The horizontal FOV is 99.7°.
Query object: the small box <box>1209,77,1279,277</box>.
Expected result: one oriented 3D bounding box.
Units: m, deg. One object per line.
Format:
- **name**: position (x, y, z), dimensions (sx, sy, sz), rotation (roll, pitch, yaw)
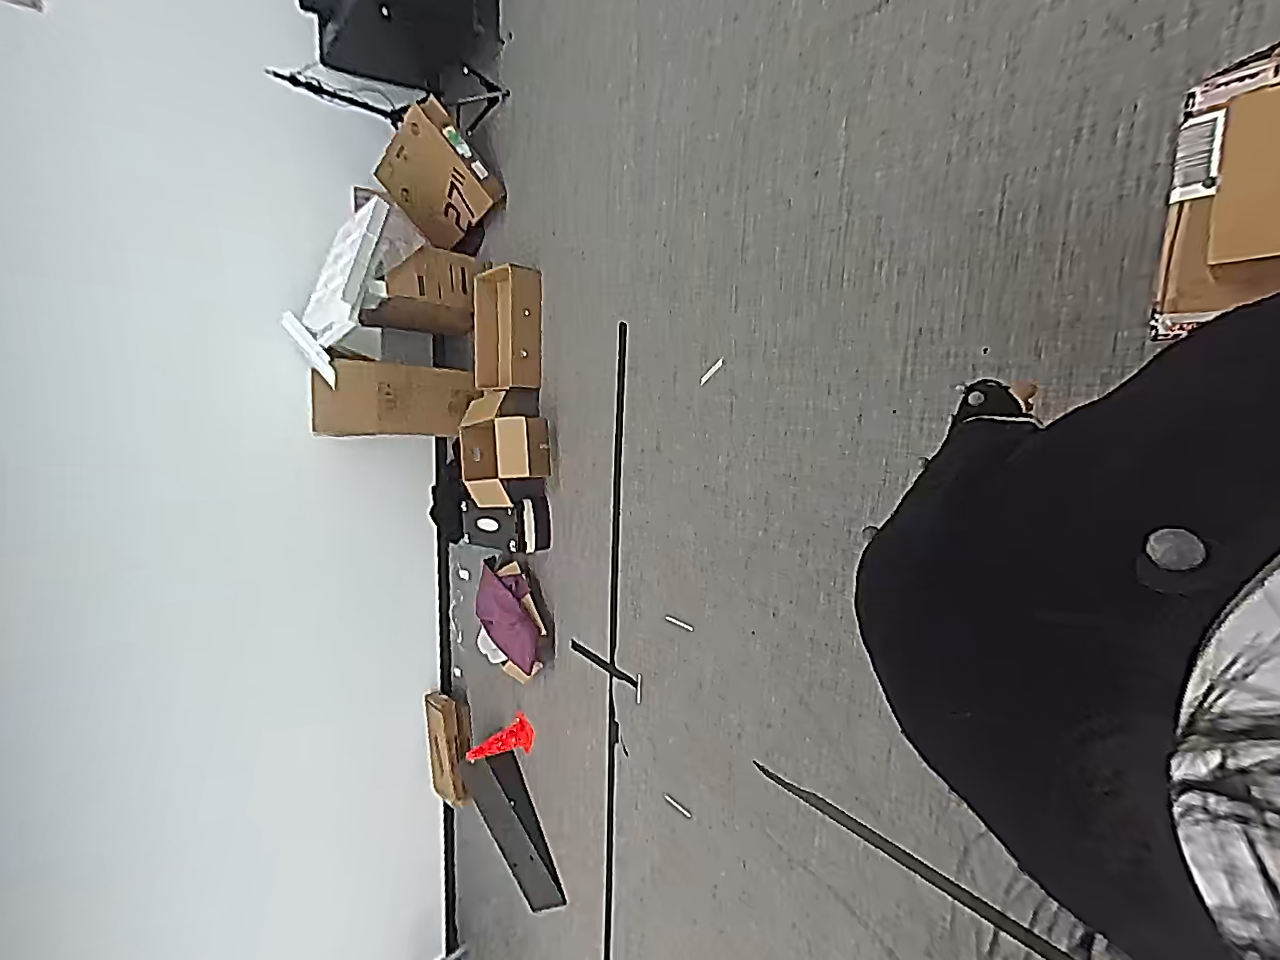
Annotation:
- **small box**: position (0.745, -0.329, 0.580), dimensions (0.168, 0.176, 0.179), rotation (9, 105, 49)
